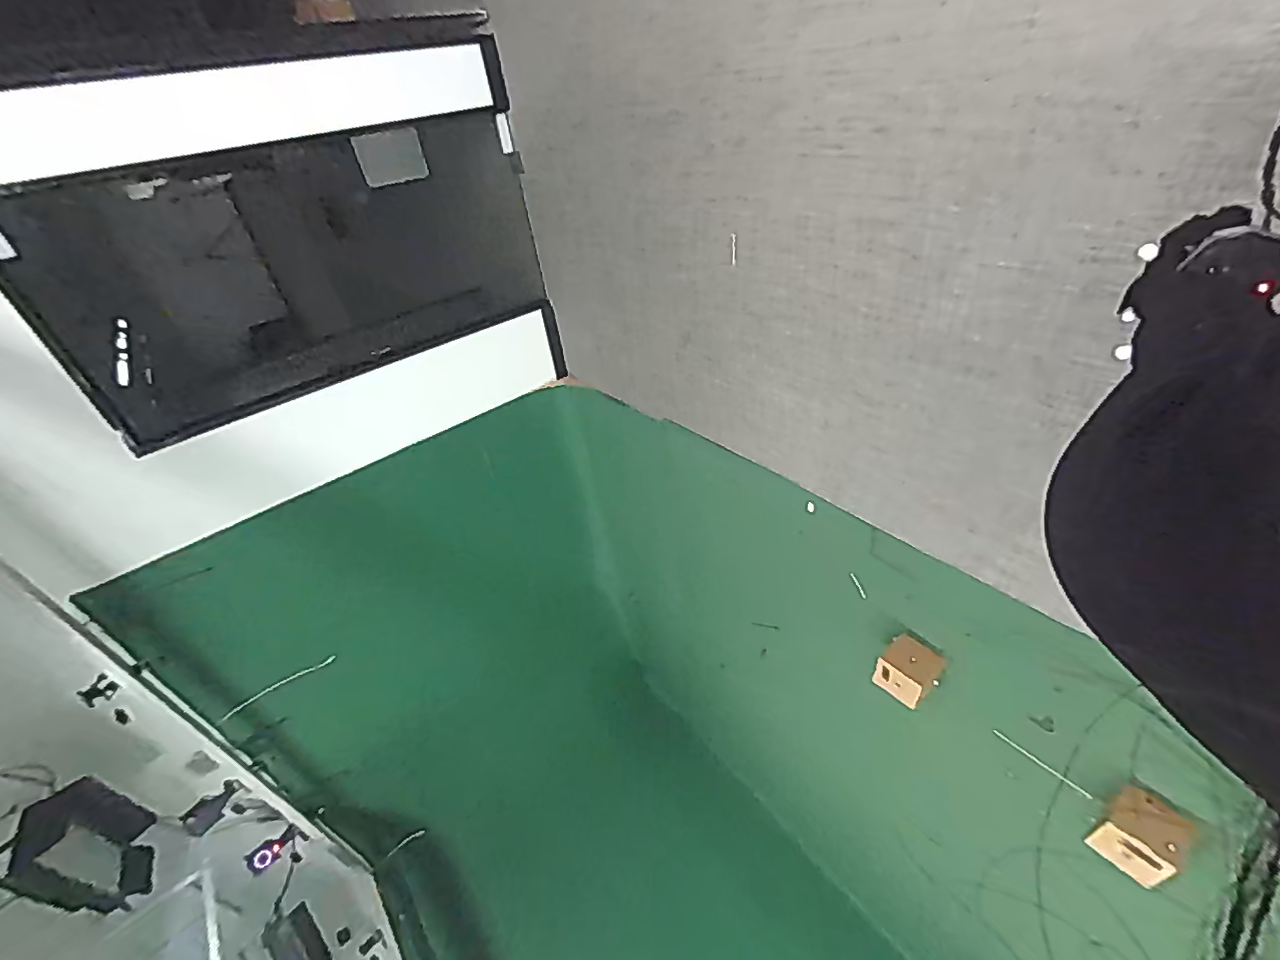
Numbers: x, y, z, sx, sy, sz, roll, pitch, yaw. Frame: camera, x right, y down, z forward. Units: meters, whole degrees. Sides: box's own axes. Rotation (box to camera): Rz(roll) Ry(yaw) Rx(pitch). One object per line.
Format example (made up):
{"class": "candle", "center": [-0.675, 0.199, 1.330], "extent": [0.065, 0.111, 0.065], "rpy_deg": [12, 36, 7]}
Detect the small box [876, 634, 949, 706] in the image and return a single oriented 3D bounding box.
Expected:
{"class": "small box", "center": [1.053, 0.725, 2.090], "extent": [0.179, 0.176, 0.168], "rpy_deg": [34, 145, 39]}
